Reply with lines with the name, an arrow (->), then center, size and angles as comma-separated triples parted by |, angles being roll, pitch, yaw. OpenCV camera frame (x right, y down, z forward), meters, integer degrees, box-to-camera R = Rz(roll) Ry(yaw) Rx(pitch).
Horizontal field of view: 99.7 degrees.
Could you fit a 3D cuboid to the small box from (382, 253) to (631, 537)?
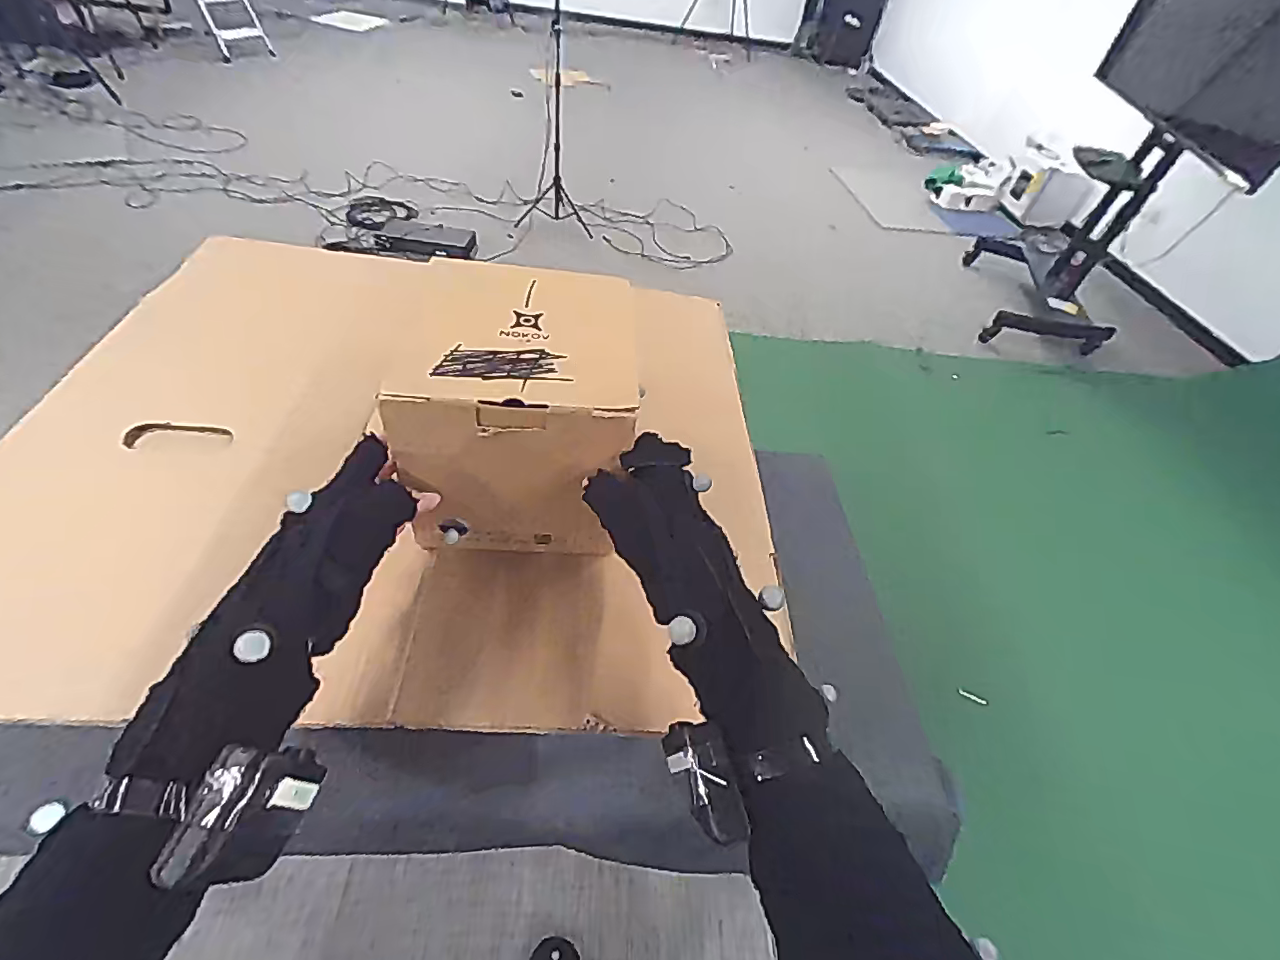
small box -> -0.098, -0.067, 0.467 | 0.168, 0.176, 0.179 | 4, 48, -8
